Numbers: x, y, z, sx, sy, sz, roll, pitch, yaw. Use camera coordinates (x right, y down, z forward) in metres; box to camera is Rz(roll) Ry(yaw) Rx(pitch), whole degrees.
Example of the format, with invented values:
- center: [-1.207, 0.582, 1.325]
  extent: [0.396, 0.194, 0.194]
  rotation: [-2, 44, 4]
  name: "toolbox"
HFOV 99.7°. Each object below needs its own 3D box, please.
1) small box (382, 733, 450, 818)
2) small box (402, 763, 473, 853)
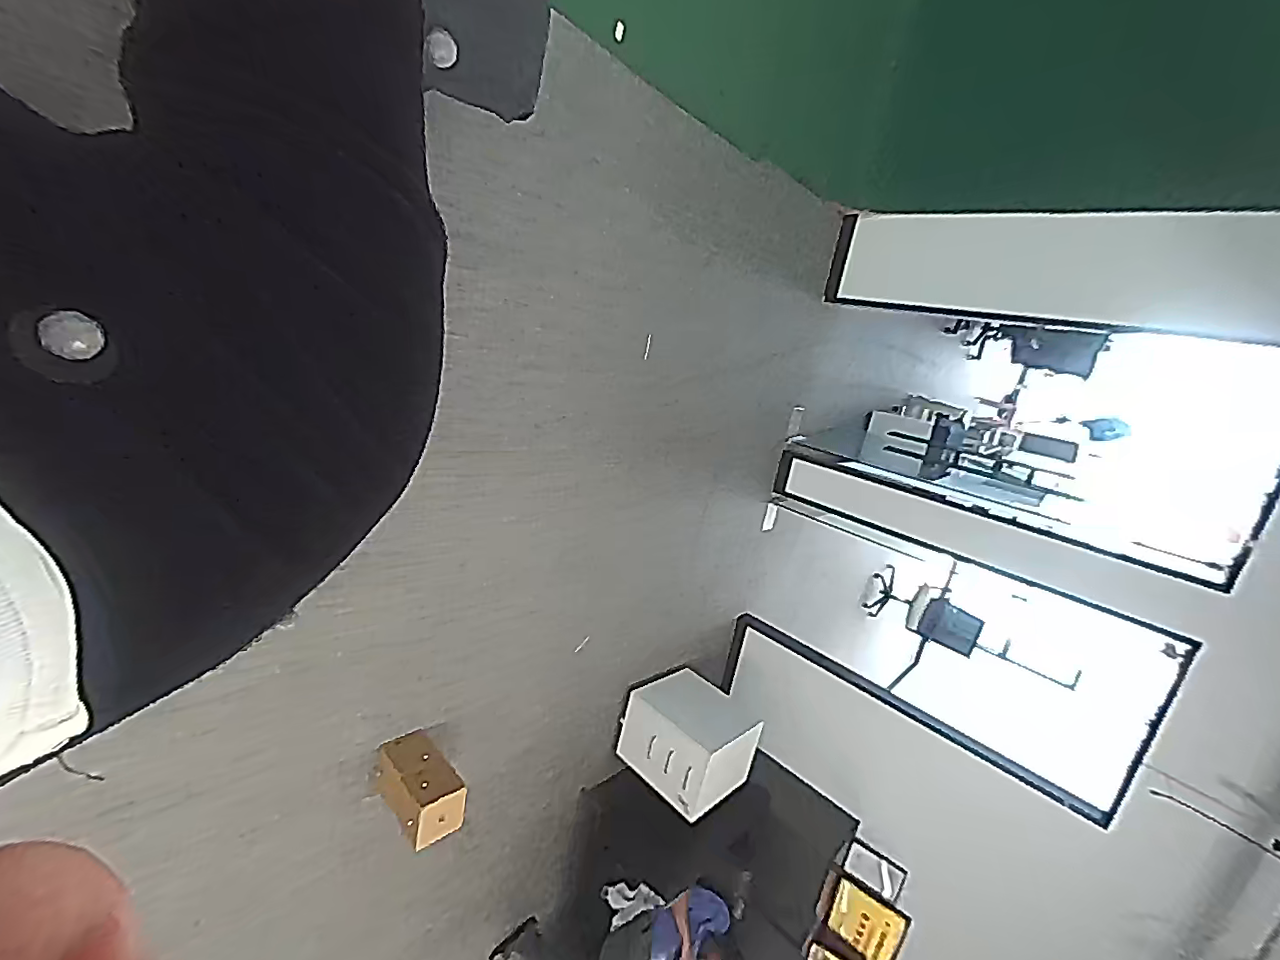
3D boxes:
- center: [-0.812, 1.058, 1.949]
  extent: [0.168, 0.176, 0.179]
  rotation: [-3, 110, -49]
  name: "small box"
- center: [-0.695, 1.107, 1.848]
  extent: [0.168, 0.176, 0.179]
  rotation: [-5, 112, -47]
  name: "small box"
